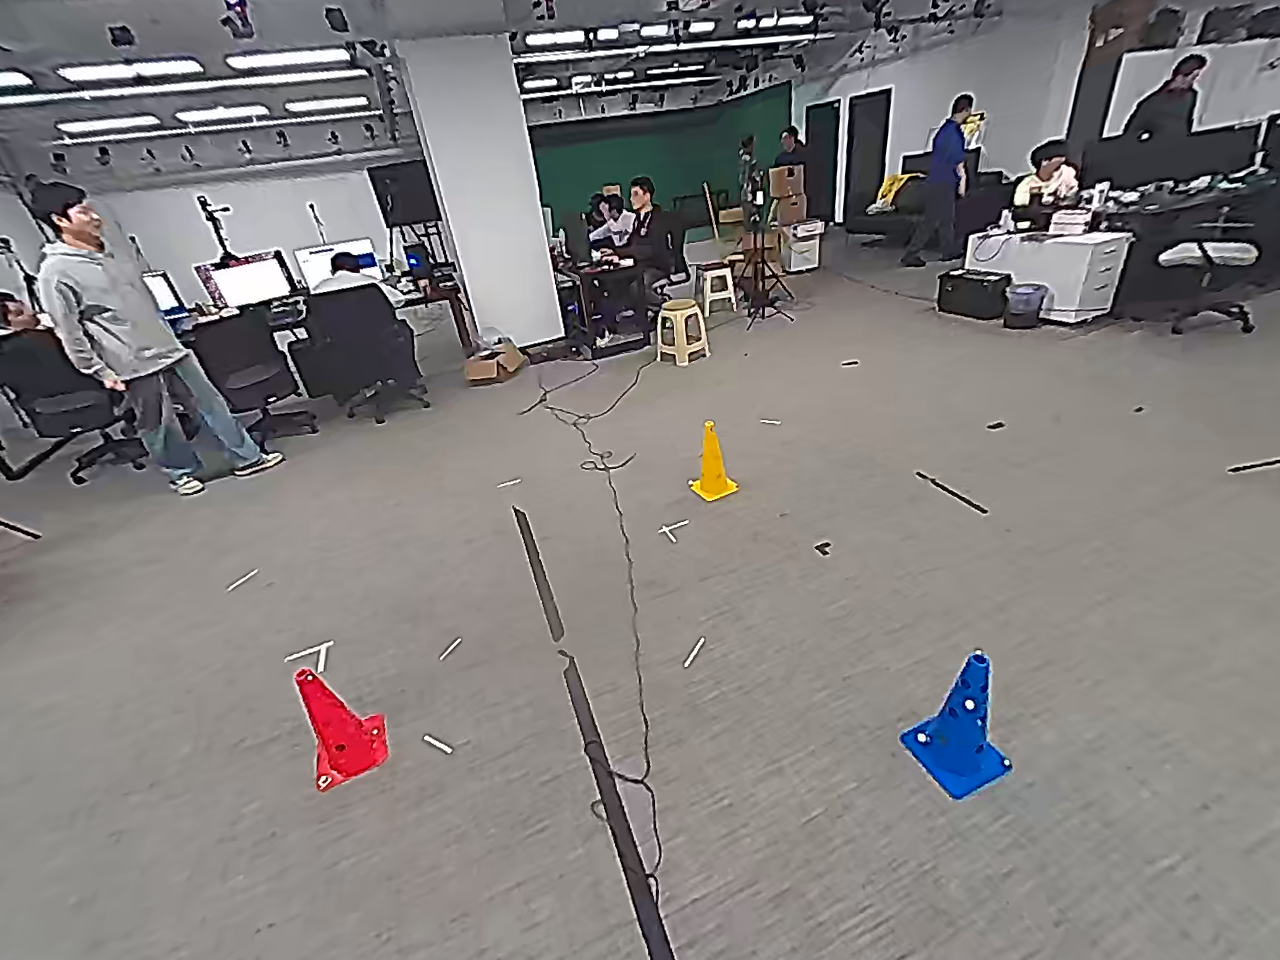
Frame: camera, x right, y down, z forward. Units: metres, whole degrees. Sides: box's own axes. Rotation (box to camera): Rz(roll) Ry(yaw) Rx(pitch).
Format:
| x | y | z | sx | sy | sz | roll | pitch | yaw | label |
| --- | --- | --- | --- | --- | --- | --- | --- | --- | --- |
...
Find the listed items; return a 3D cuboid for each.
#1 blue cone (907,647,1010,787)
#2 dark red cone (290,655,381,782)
| x | y | z | sx | sy | sz | roll | pitch | yaw | label |
| --- | --- | --- | --- | --- | --- | --- | --- | --- | --- |
| 0.820 | 0.566 | 1.356 | 0.192 | 0.380 | 0.193 | -16 | 30 | -14 | blue cone |
| -0.923 | 0.668 | 1.581 | 0.201 | 0.394 | 0.202 | -20 | 31 | -21 | dark red cone |
